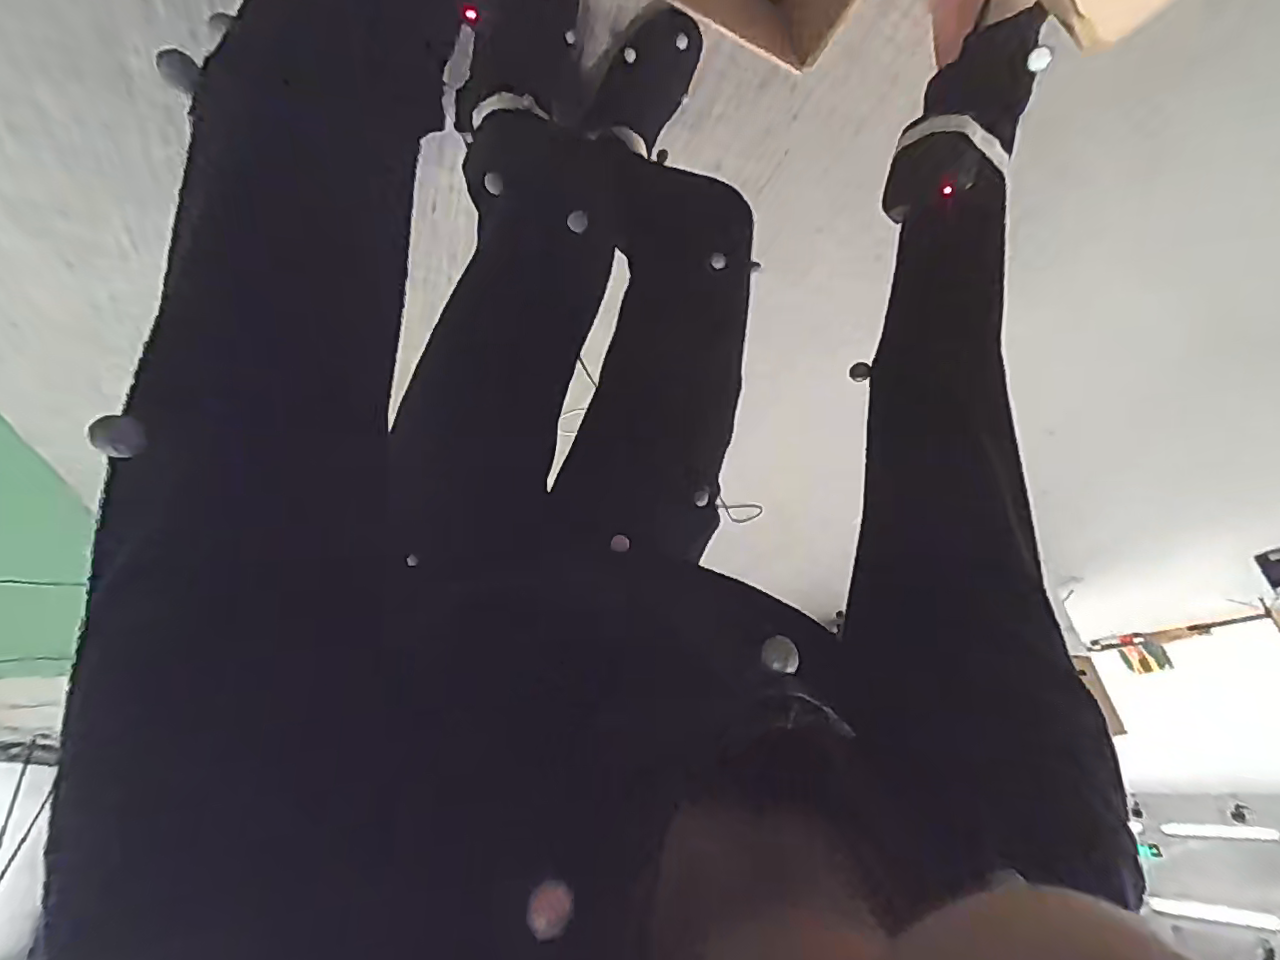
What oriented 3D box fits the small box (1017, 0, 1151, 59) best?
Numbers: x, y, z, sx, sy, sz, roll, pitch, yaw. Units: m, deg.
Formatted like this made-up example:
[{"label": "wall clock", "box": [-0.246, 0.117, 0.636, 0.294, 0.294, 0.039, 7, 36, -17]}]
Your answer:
[{"label": "small box", "box": [0.205, -0.338, 0.209, 0.168, 0.176, 0.179, 14, 147, -39]}]
